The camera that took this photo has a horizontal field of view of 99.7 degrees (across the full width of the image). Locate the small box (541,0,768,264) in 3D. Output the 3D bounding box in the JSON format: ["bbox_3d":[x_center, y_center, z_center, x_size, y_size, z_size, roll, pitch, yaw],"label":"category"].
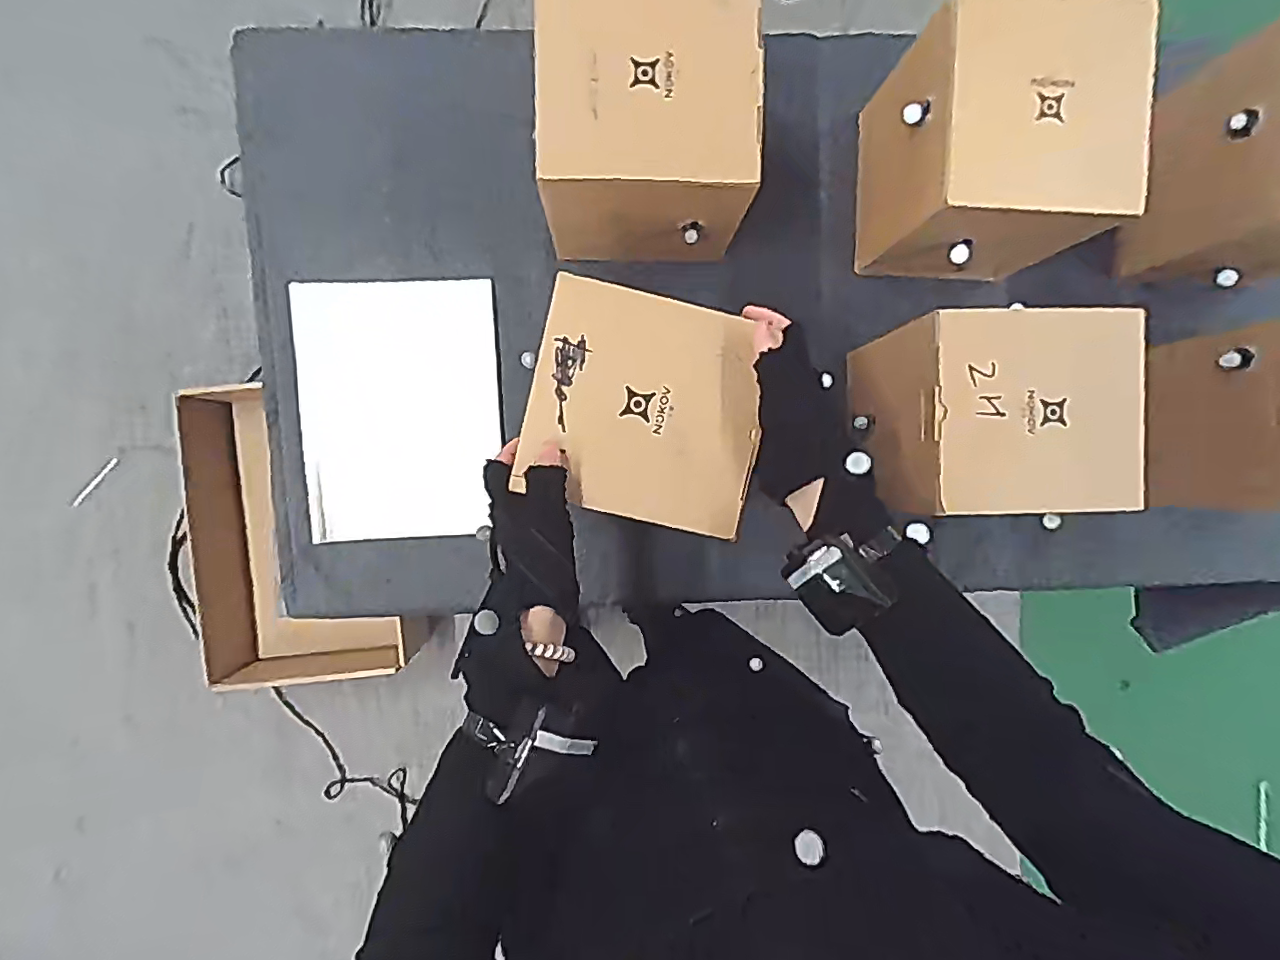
[{"bbox_3d":[0.006,-0.311,0.496,0.179,0.176,0.168,1,91,-3],"label":"small box"}]

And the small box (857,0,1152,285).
[{"bbox_3d":[0.323,-0.298,0.514,0.168,0.176,0.179,2,91,-2],"label":"small box"}]

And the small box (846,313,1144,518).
[{"bbox_3d":[0.318,-0.053,0.515,0.179,0.176,0.168,0,90,-2],"label":"small box"}]

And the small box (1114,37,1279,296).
[{"bbox_3d":[0.612,-0.296,0.523,0.168,0.176,0.179,2,92,-2],"label":"small box"}]
